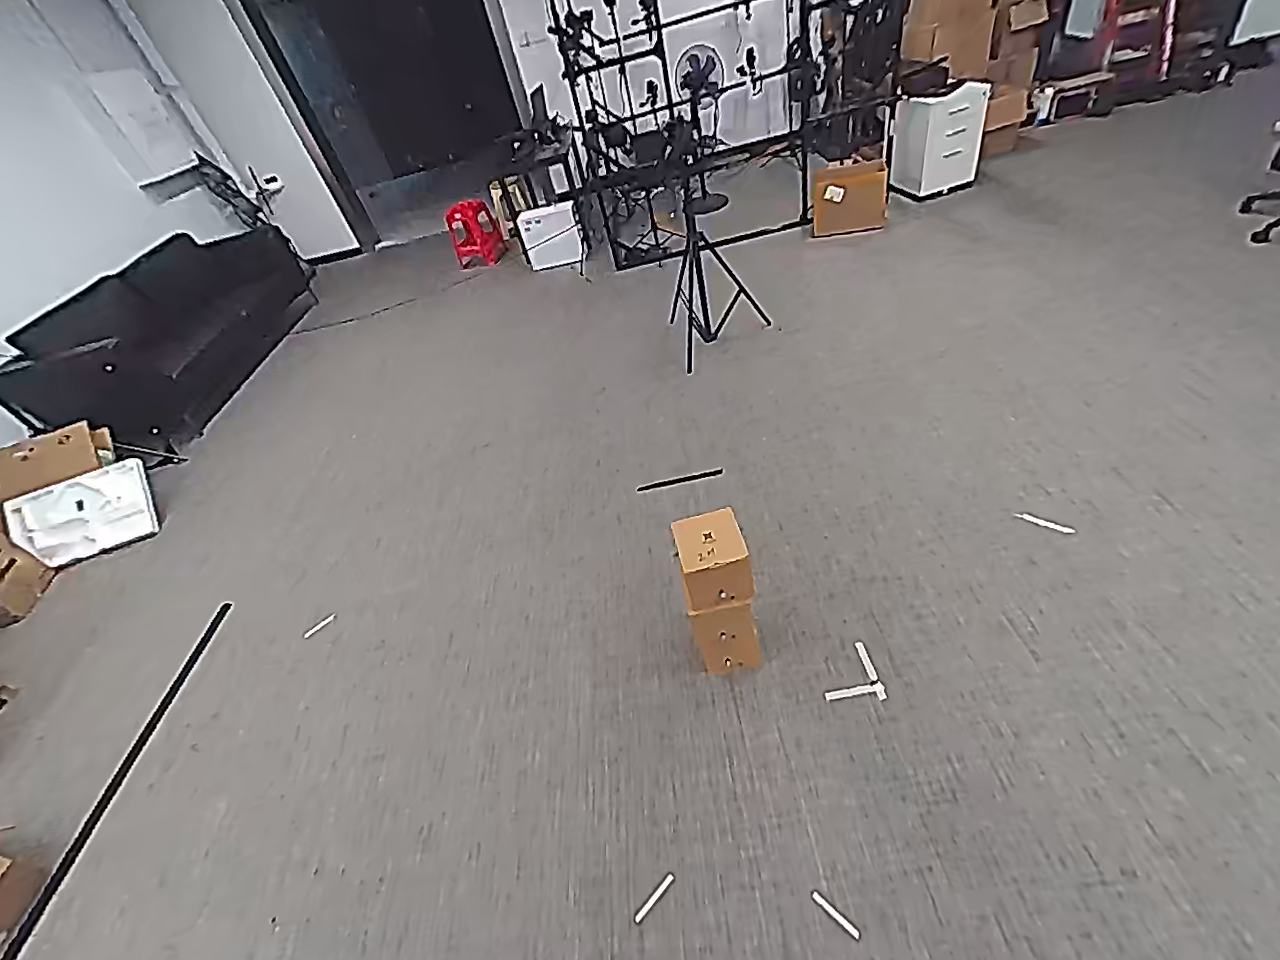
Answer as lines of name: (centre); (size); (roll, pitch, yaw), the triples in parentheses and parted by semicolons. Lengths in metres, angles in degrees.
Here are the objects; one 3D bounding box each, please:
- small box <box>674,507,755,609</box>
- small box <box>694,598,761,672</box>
small box: (0.194, 0.204, 1.408); (0.168, 0.176, 0.179); (-15, 42, 2)
small box: (0.261, 0.447, 1.620); (0.168, 0.176, 0.179); (-12, 42, 5)
